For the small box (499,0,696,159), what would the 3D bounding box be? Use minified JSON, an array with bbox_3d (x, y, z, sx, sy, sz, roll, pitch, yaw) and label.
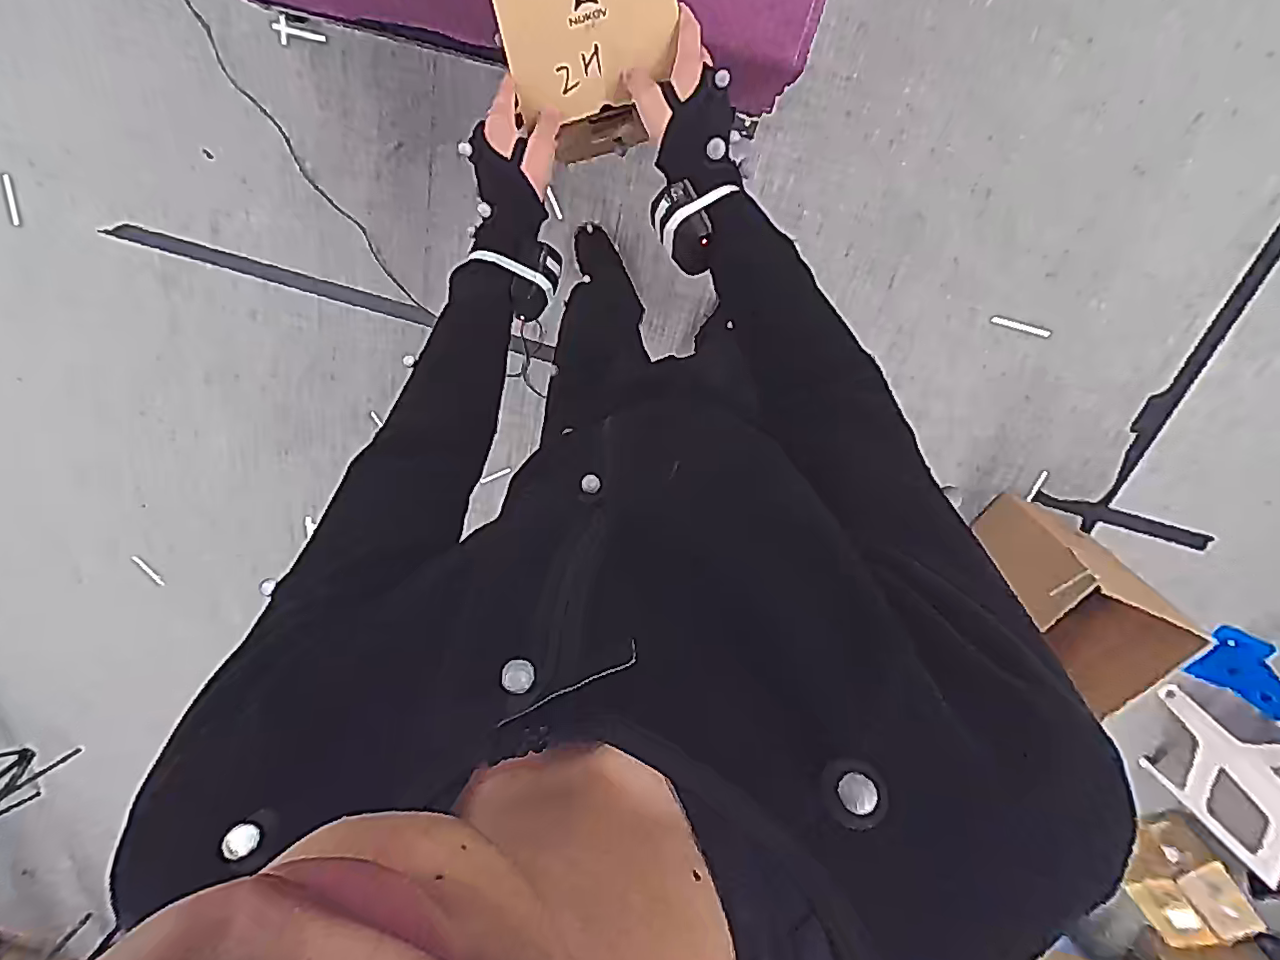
[{"bbox_3d":[-0.039,-0.459,0.555,0.168,0.176,0.179,-9,110,9],"label":"small box"}]
